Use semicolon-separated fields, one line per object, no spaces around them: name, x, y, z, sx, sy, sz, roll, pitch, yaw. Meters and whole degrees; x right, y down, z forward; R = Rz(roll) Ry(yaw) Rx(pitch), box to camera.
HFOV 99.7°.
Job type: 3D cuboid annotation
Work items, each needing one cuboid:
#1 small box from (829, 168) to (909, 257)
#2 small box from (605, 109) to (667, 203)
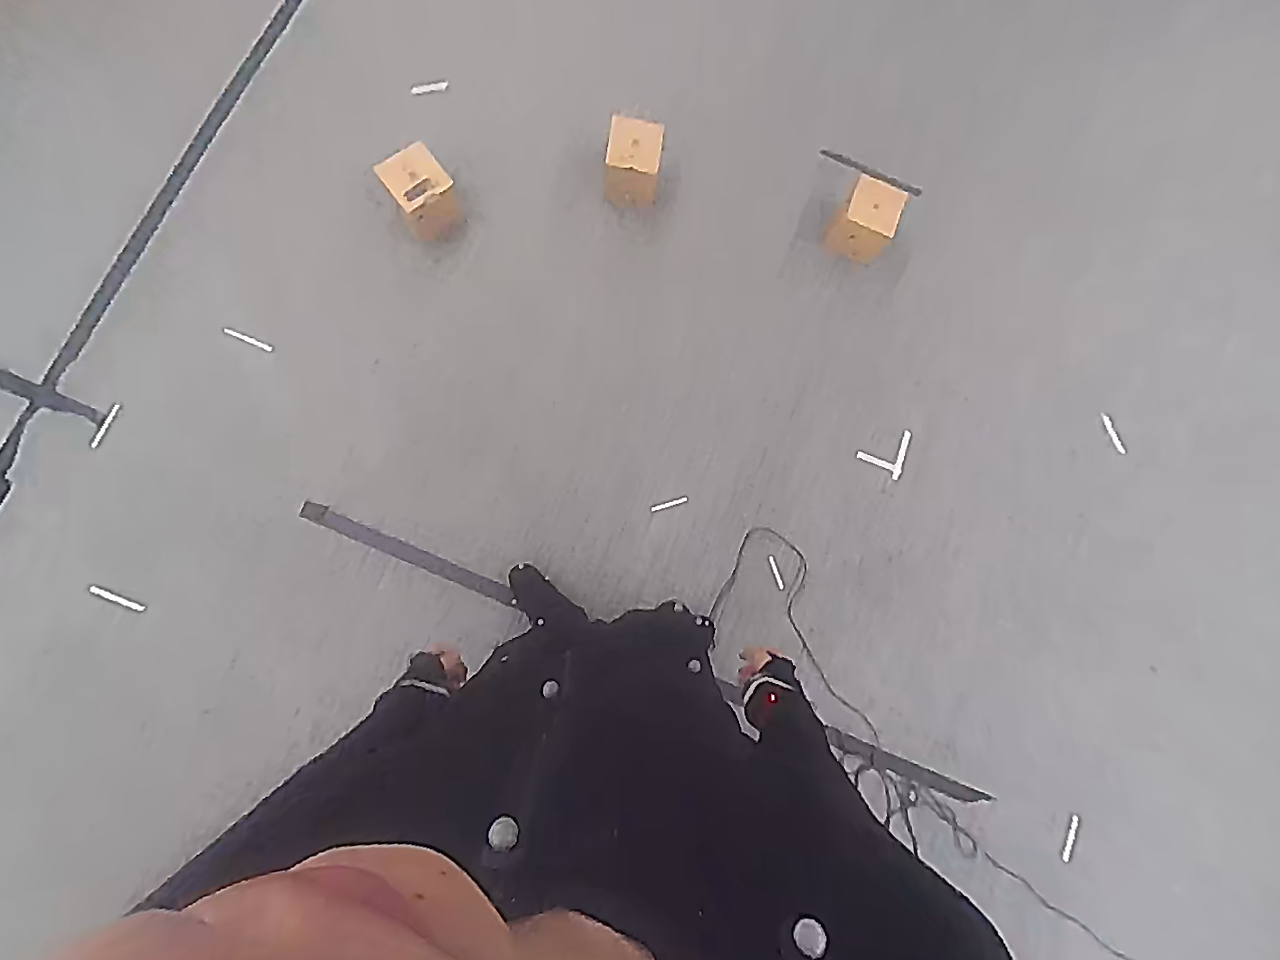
small box;0.750;-0.878;1.792;0.168;0.176;0.179;21;80;-2
small box;-0.018;-1.033;1.733;0.168;0.176;0.179;9;82;-5
